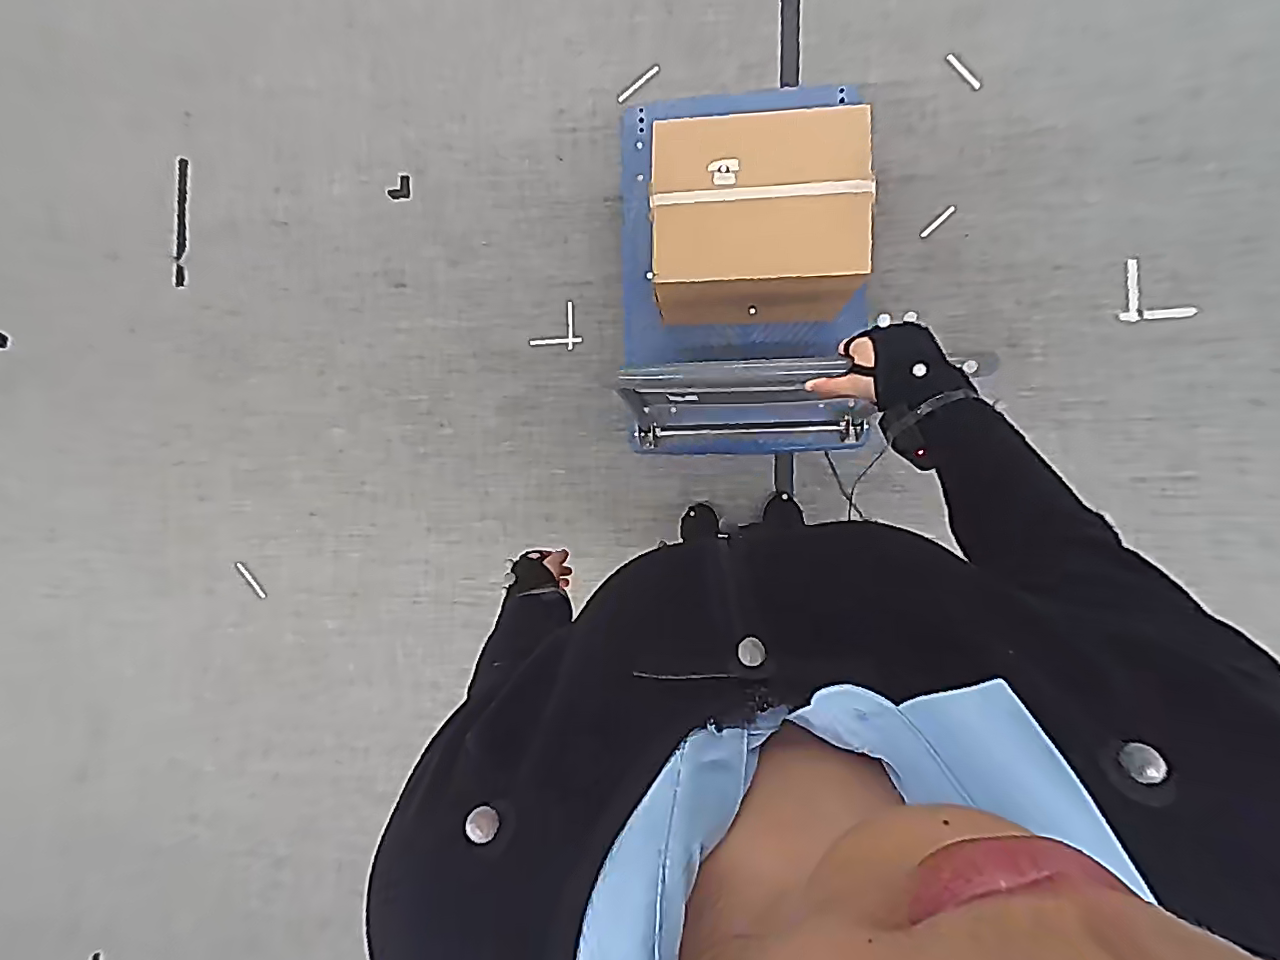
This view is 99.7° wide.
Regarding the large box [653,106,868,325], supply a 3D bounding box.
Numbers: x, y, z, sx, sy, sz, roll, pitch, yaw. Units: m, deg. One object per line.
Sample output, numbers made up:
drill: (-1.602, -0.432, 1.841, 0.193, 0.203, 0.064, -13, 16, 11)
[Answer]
large box: (0.247, -0.539, 1.178, 0.408, 0.320, 0.320, -1, 89, 8)
